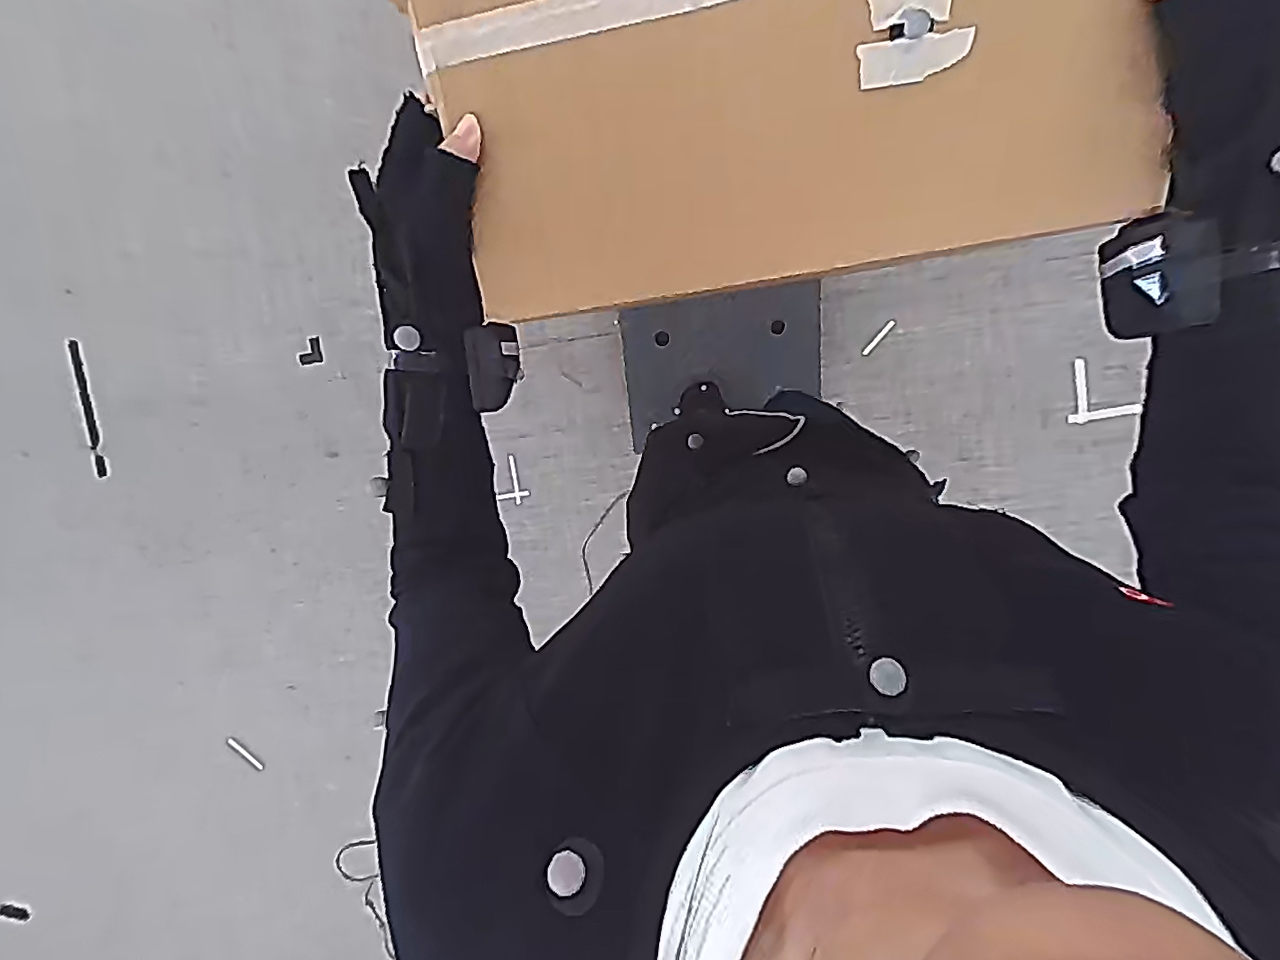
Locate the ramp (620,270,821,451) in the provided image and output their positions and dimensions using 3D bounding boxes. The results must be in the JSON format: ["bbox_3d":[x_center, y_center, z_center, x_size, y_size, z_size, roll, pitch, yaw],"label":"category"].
[{"bbox_3d":[0.179,-0.569,1.287,0.509,0.206,0.991,-6,98,6],"label":"ramp"}]

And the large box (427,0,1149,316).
[{"bbox_3d":[0.084,-0.329,0.445,0.408,0.320,0.320,-7,108,7],"label":"large box"}]
